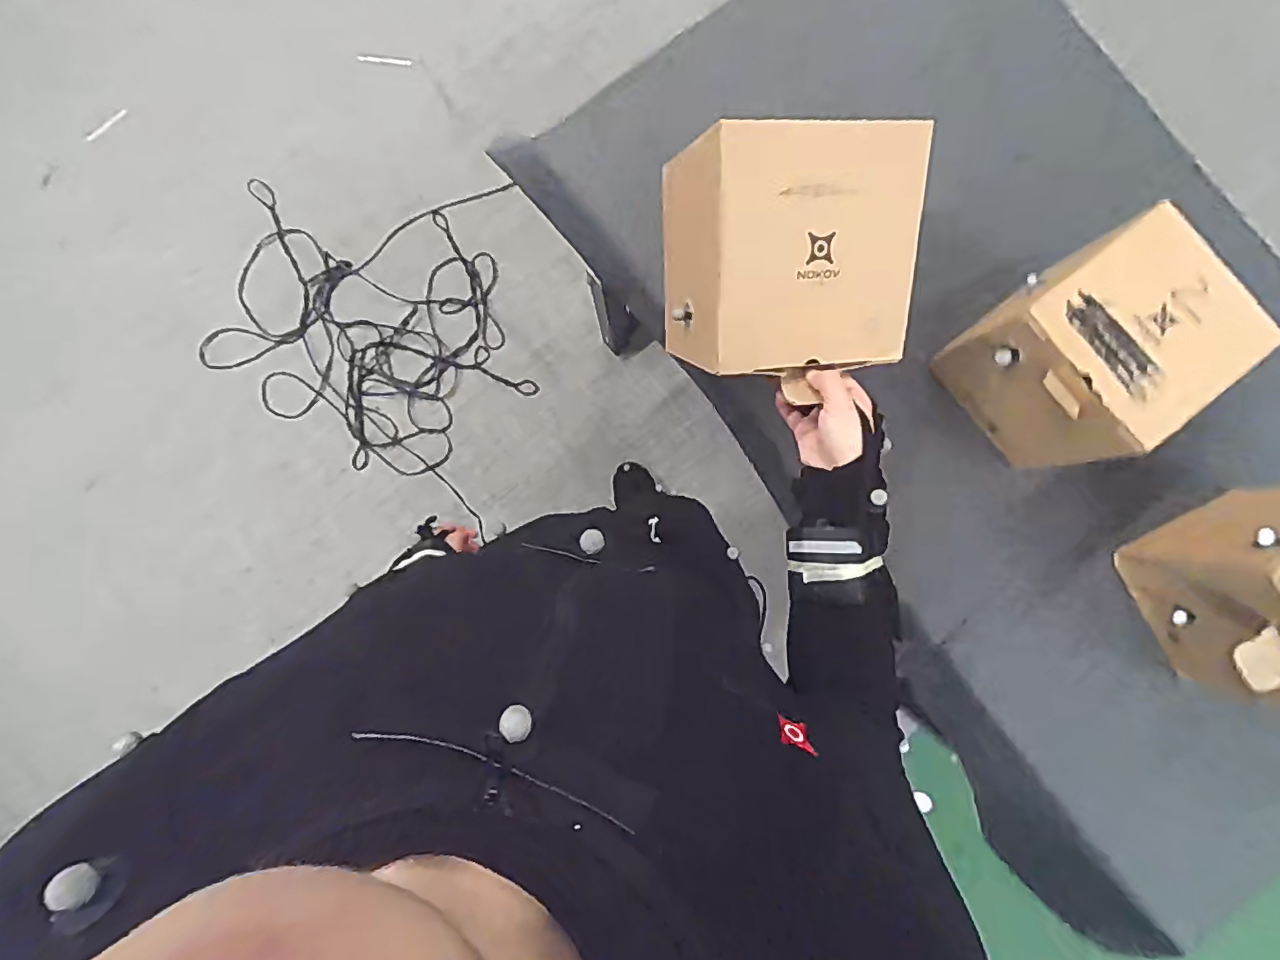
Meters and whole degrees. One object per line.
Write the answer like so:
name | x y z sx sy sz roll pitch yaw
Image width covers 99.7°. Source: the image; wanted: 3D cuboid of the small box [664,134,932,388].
small box | 0.121 -0.189 0.483 0.168 0.176 0.179 -7 110 -10

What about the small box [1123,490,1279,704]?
small box | 0.673 0.114 0.555 0.179 0.176 0.168 -27 87 -1
